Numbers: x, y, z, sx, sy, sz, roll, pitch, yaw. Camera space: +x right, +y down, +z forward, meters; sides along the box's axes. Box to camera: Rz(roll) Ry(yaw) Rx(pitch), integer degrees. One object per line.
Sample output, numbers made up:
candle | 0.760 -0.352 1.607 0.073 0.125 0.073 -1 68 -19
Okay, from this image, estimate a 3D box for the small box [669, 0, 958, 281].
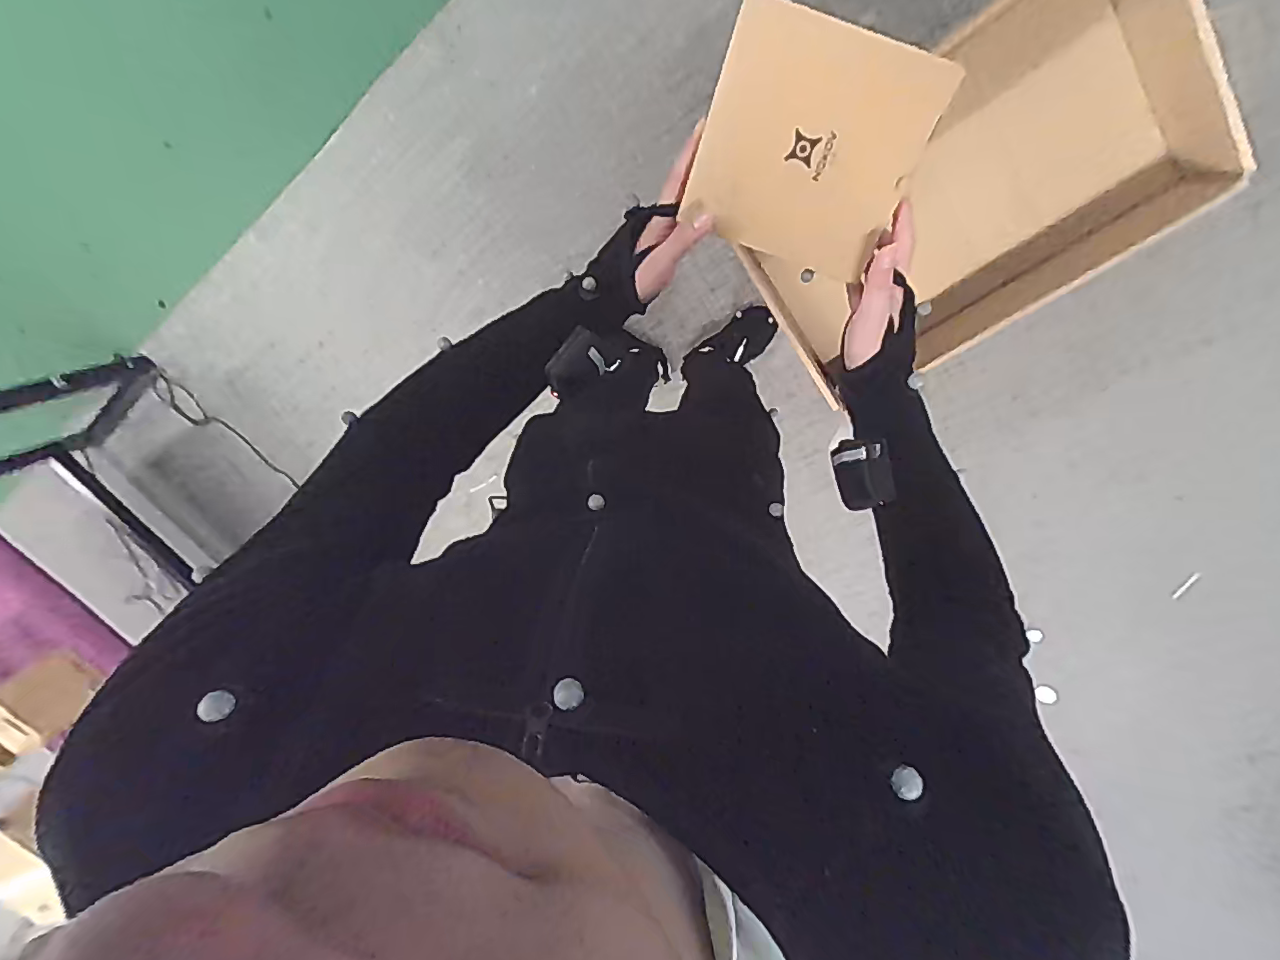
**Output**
small box | 0.139 -0.306 0.500 0.179 0.176 0.168 18 122 -3
